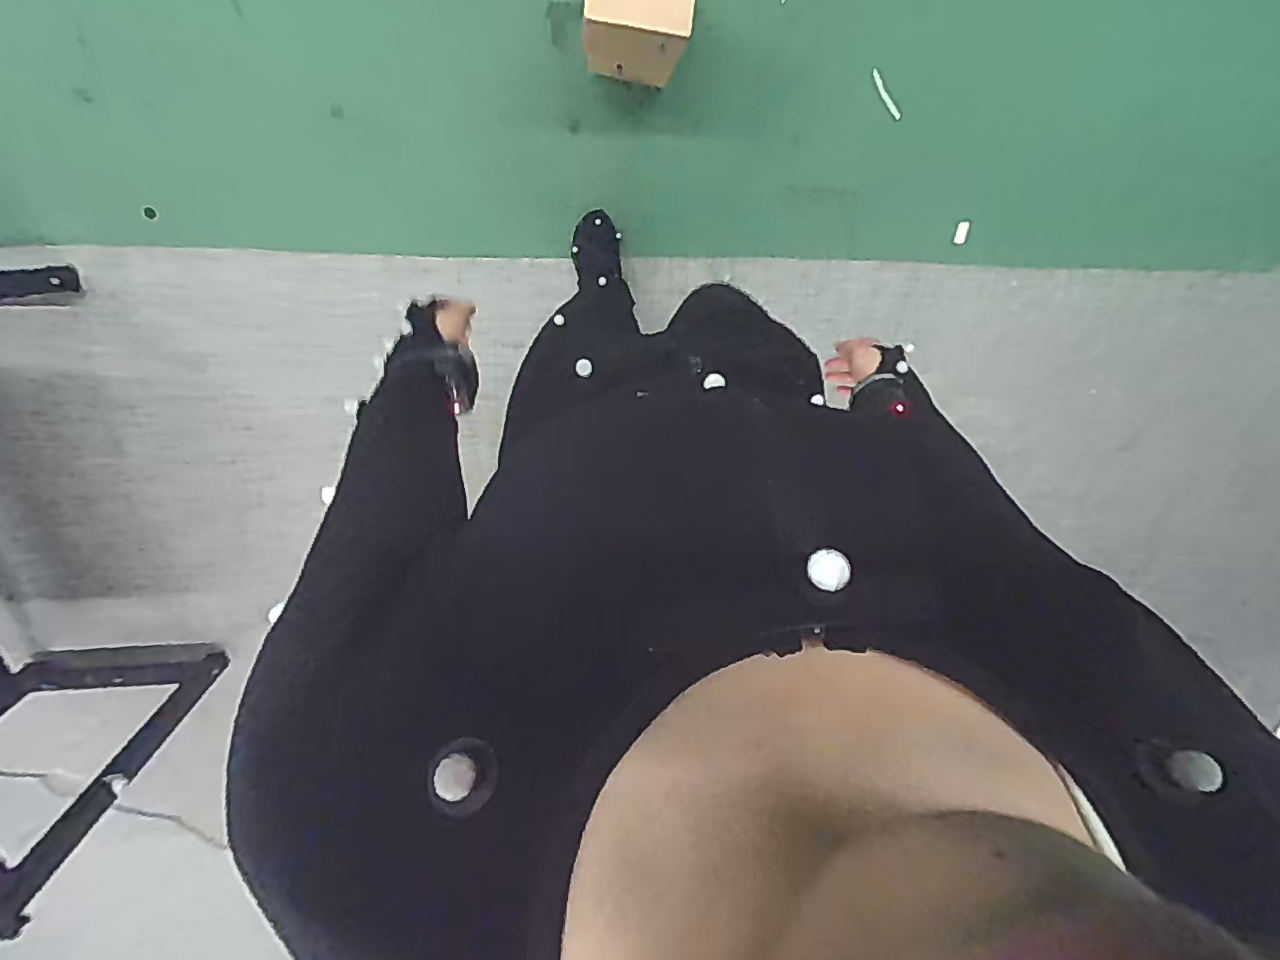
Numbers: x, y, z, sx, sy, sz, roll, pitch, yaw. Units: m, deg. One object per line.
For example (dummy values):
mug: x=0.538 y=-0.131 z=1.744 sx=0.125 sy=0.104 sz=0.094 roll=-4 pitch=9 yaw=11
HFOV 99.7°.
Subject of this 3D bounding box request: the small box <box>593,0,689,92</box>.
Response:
small box: x=0.000 y=-0.889 z=1.057 sx=0.168 sy=0.176 sz=0.179 roll=6 pitch=113 yaw=-8
